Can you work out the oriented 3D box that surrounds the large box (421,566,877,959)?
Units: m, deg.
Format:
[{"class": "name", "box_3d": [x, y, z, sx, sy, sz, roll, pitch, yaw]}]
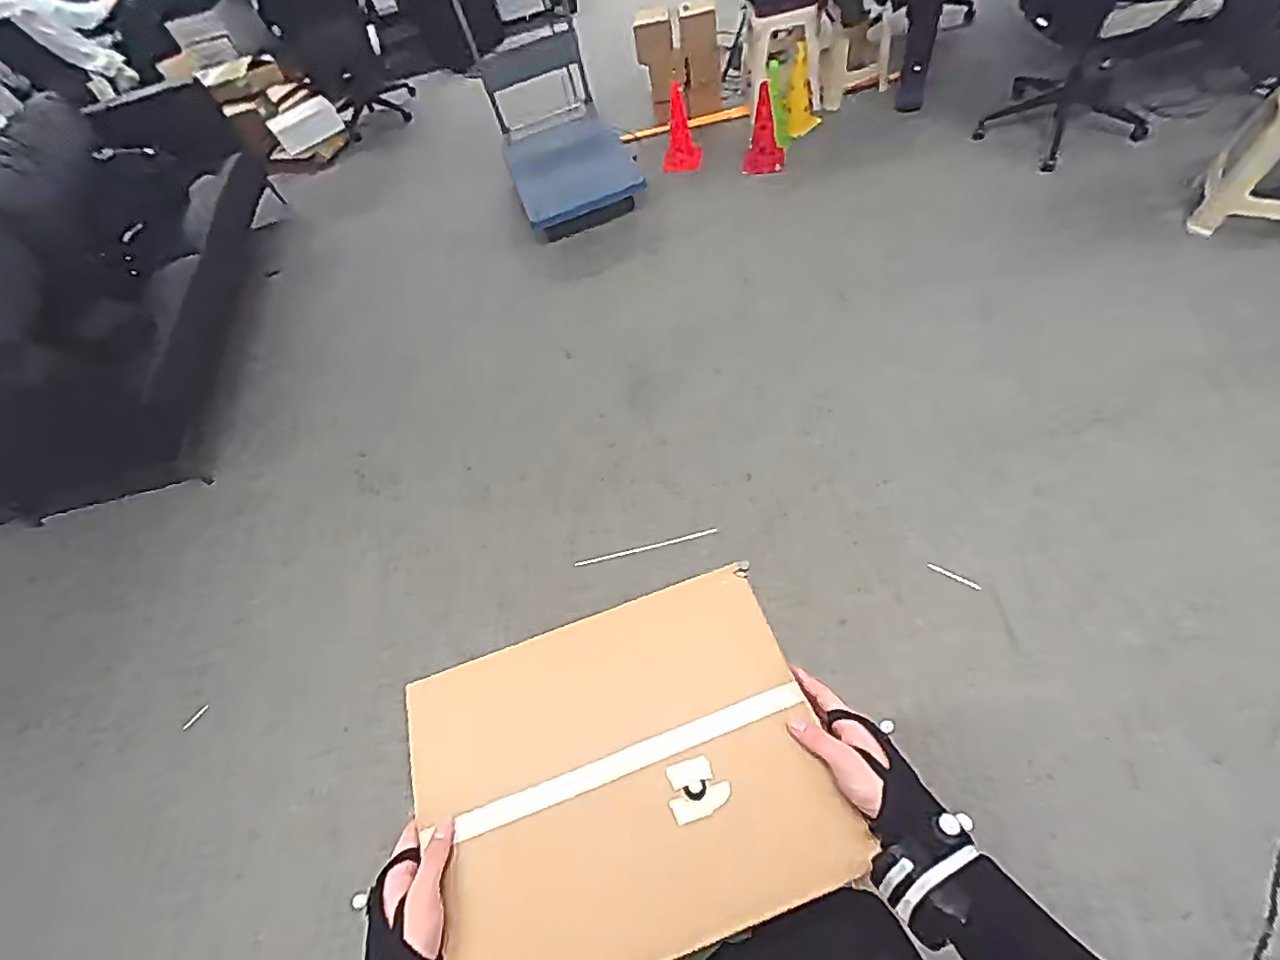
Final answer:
[{"class": "large box", "box_3d": [-0.001, 0.369, 0.677, 0.408, 0.320, 0.320, -19, 57, -6]}]
